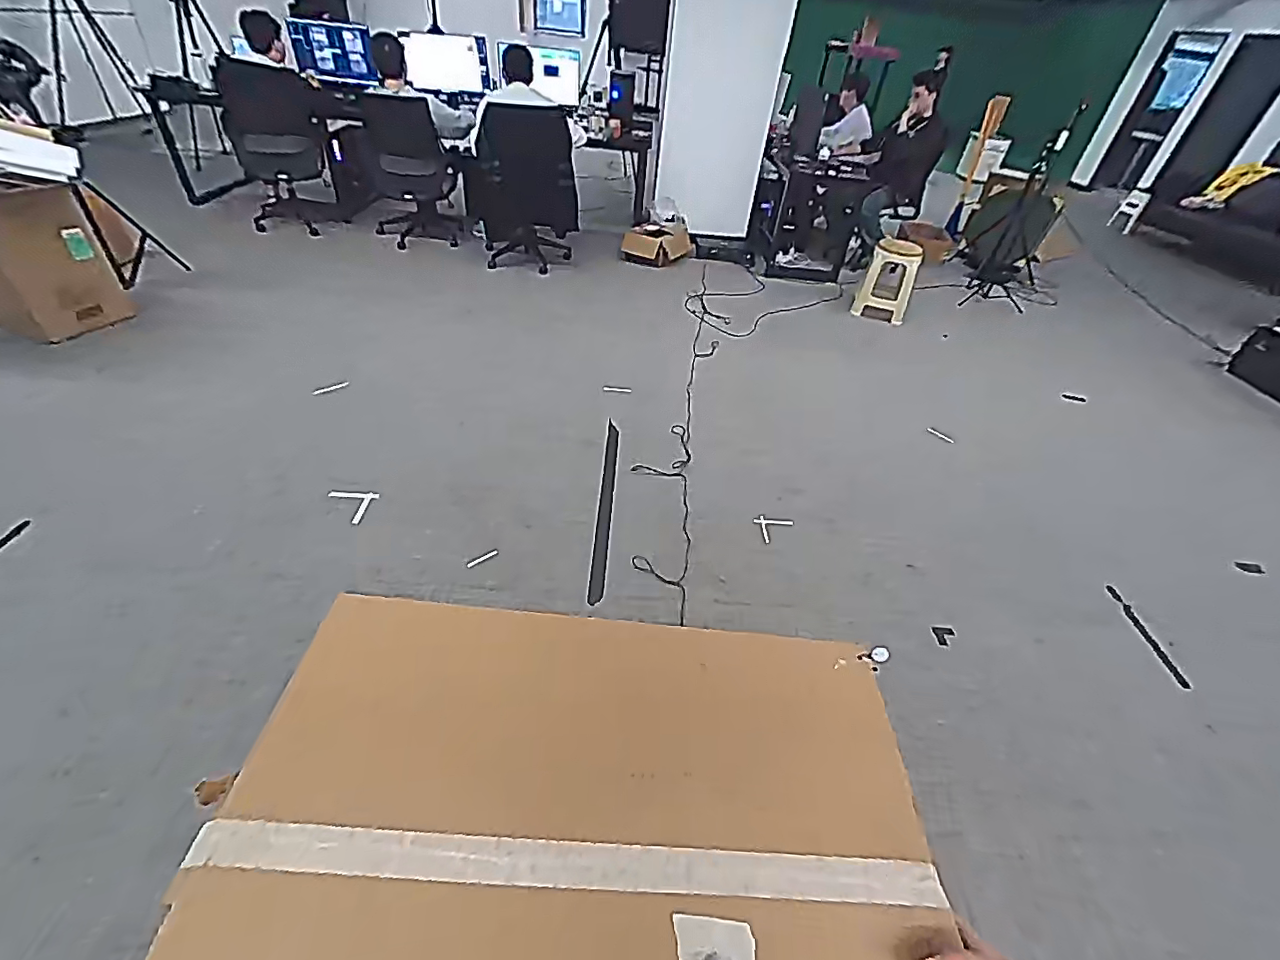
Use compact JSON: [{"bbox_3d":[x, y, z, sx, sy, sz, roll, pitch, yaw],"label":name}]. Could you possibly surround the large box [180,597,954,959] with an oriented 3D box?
[{"bbox_3d":[-0.045,0.321,0.413,0.408,0.320,0.320,8,44,-5],"label":"large box"}]
